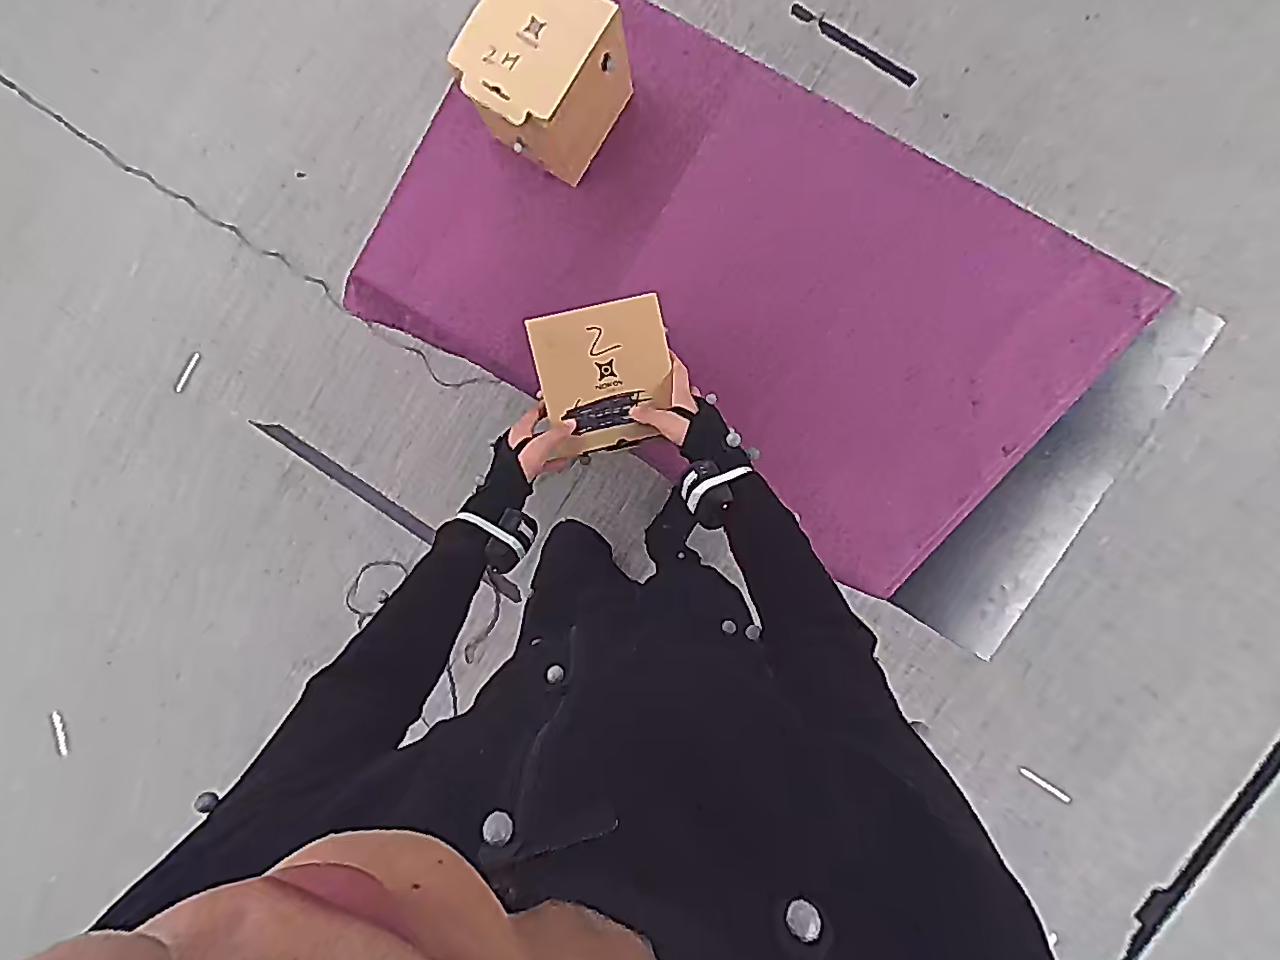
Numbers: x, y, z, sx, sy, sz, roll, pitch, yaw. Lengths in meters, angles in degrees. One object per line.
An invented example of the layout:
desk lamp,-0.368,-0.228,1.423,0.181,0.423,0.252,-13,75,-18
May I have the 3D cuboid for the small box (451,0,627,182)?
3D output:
small box,-0.131,-0.582,0.780,0.168,0.176,0.179,34,96,3
